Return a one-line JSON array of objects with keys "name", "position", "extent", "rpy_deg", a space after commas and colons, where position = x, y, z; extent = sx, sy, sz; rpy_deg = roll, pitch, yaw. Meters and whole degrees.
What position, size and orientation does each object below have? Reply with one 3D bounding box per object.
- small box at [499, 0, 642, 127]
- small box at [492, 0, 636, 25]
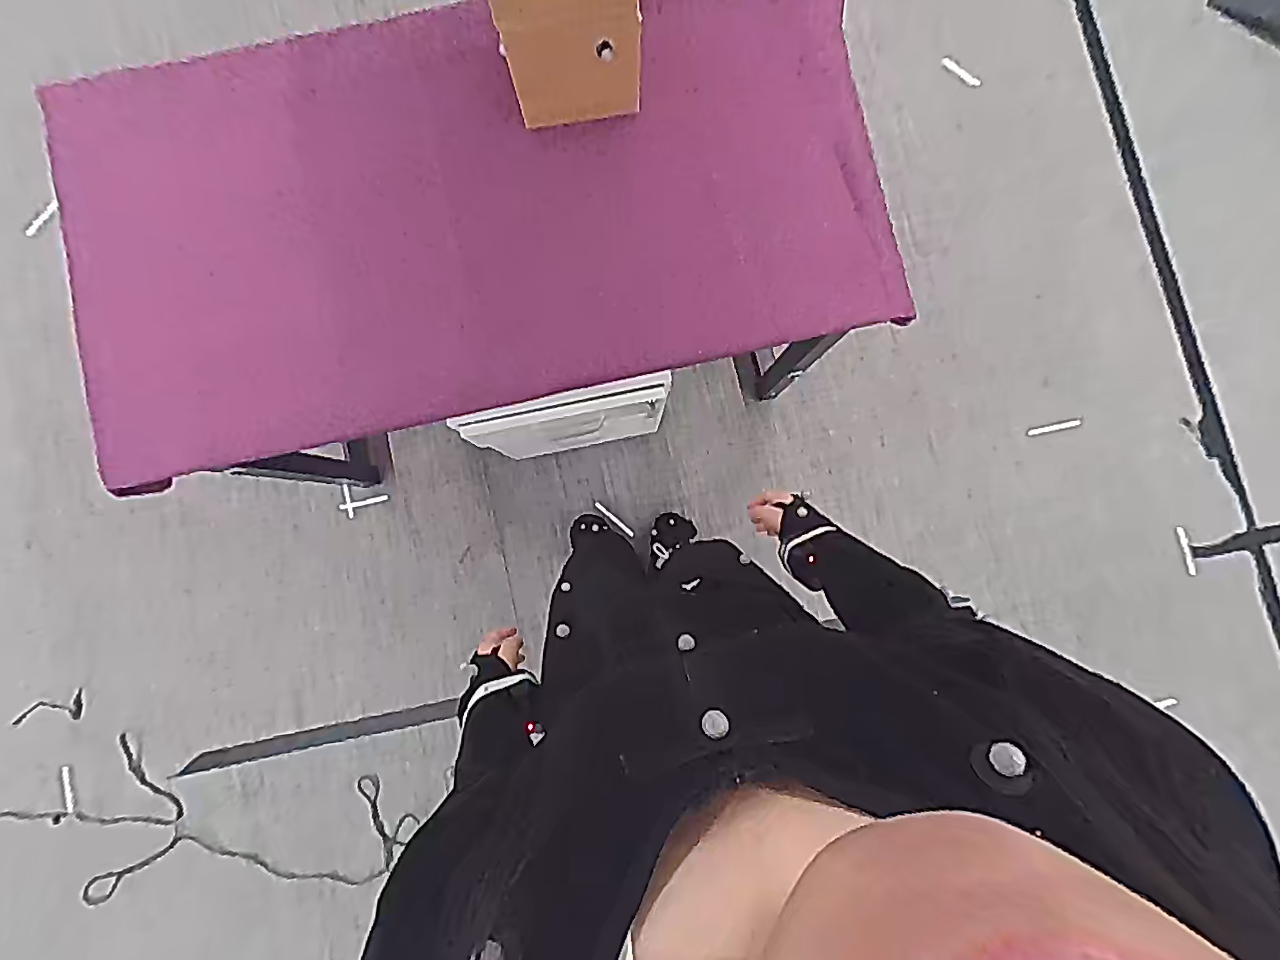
[{"name": "small box", "position": [-0.096, -0.627, 0.744], "extent": [0.179, 0.176, 0.168], "rpy_deg": [-9, 87, 0]}, {"name": "small box", "position": [-0.097, -0.639, 0.580], "extent": [0.179, 0.176, 0.168], "rpy_deg": [-8, 87, 0]}]
